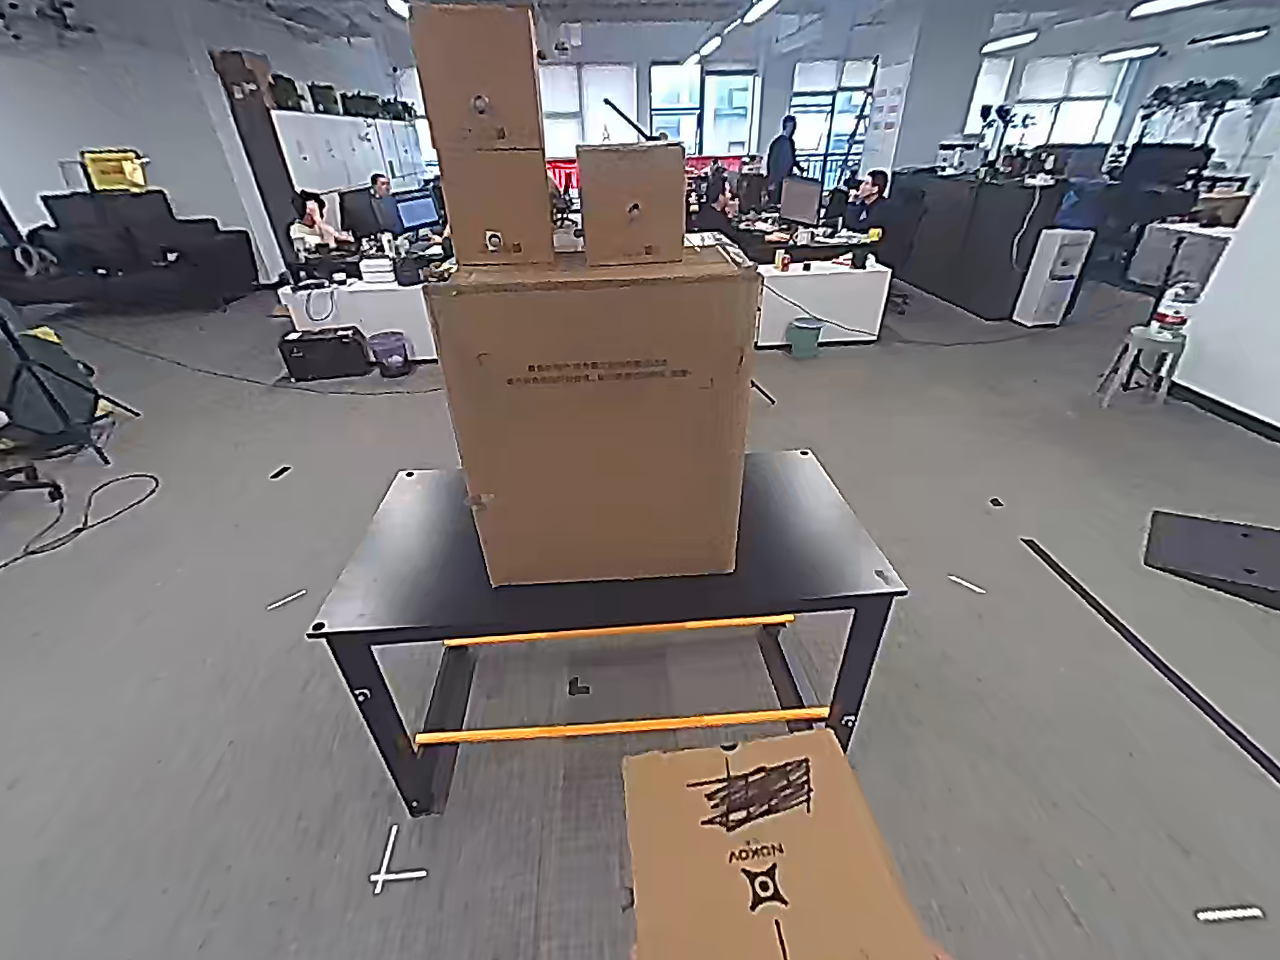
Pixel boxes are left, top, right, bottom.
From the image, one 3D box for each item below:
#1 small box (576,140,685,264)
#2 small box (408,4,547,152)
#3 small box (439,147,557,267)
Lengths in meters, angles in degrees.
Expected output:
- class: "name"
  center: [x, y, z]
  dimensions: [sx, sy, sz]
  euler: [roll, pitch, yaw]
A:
- class: "small box"
  center: [-0.017, -0.469, 0.915]
  dimensions: [0.168, 0.176, 0.179]
  euler: [-5, 34, -5]
- class: "small box"
  center: [-0.238, -0.609, 0.838]
  dimensions: [0.168, 0.176, 0.179]
  euler: [-5, 33, -5]
- class: "small box"
  center: [-0.234, -0.472, 0.929]
  dimensions: [0.168, 0.176, 0.179]
  euler: [-6, 34, -7]
